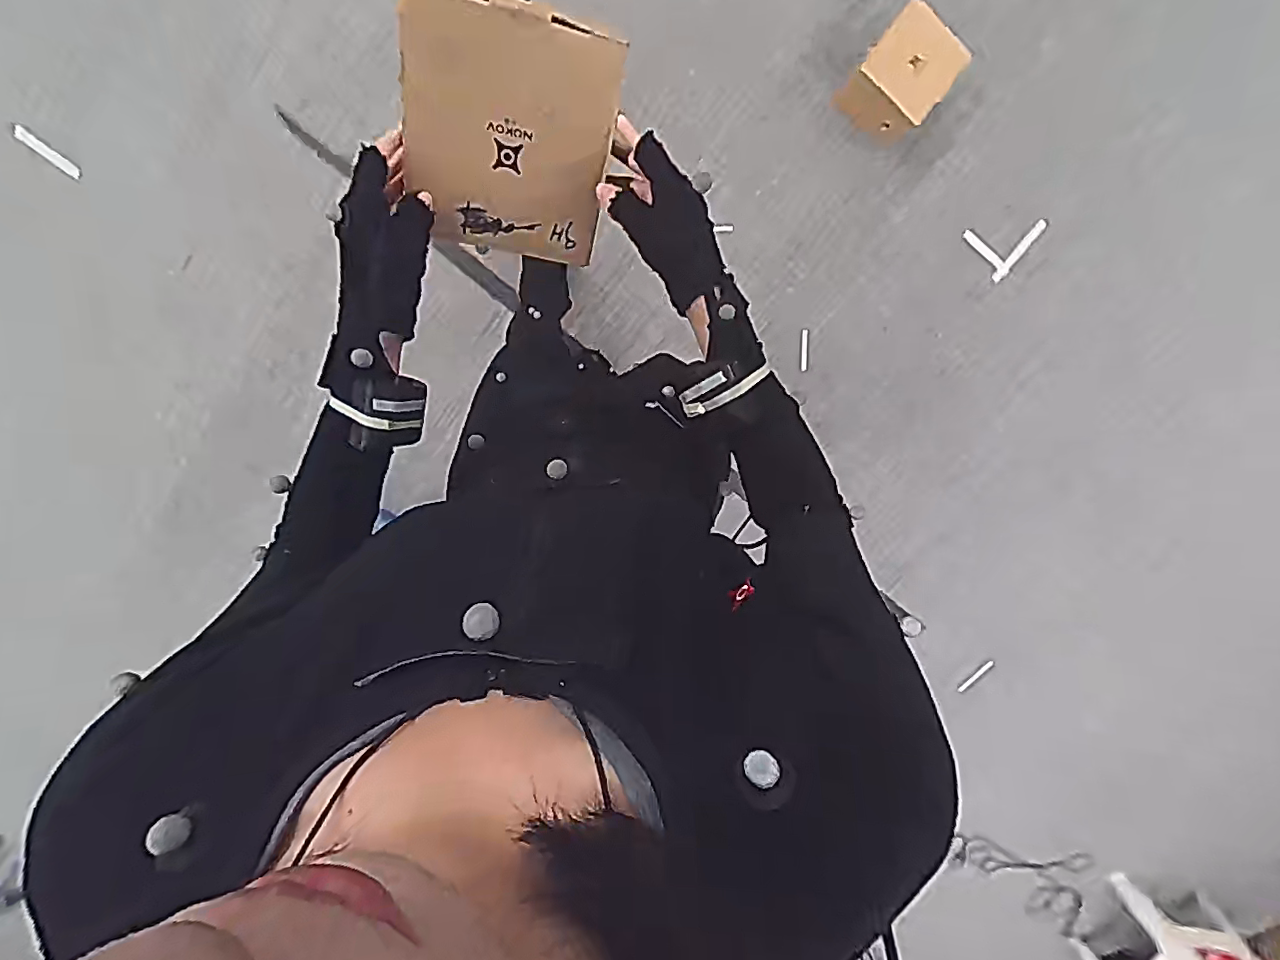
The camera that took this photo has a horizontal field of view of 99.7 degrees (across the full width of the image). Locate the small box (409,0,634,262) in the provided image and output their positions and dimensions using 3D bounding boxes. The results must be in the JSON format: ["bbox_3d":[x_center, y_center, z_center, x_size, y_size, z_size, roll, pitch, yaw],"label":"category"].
[{"bbox_3d":[-0.114,-0.334,0.502,0.168,0.176,0.179,6,131,-15],"label":"small box"}]

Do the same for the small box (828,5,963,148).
[{"bbox_3d":[0.560,-0.880,1.207,0.179,0.176,0.168,36,101,-11],"label":"small box"}]
